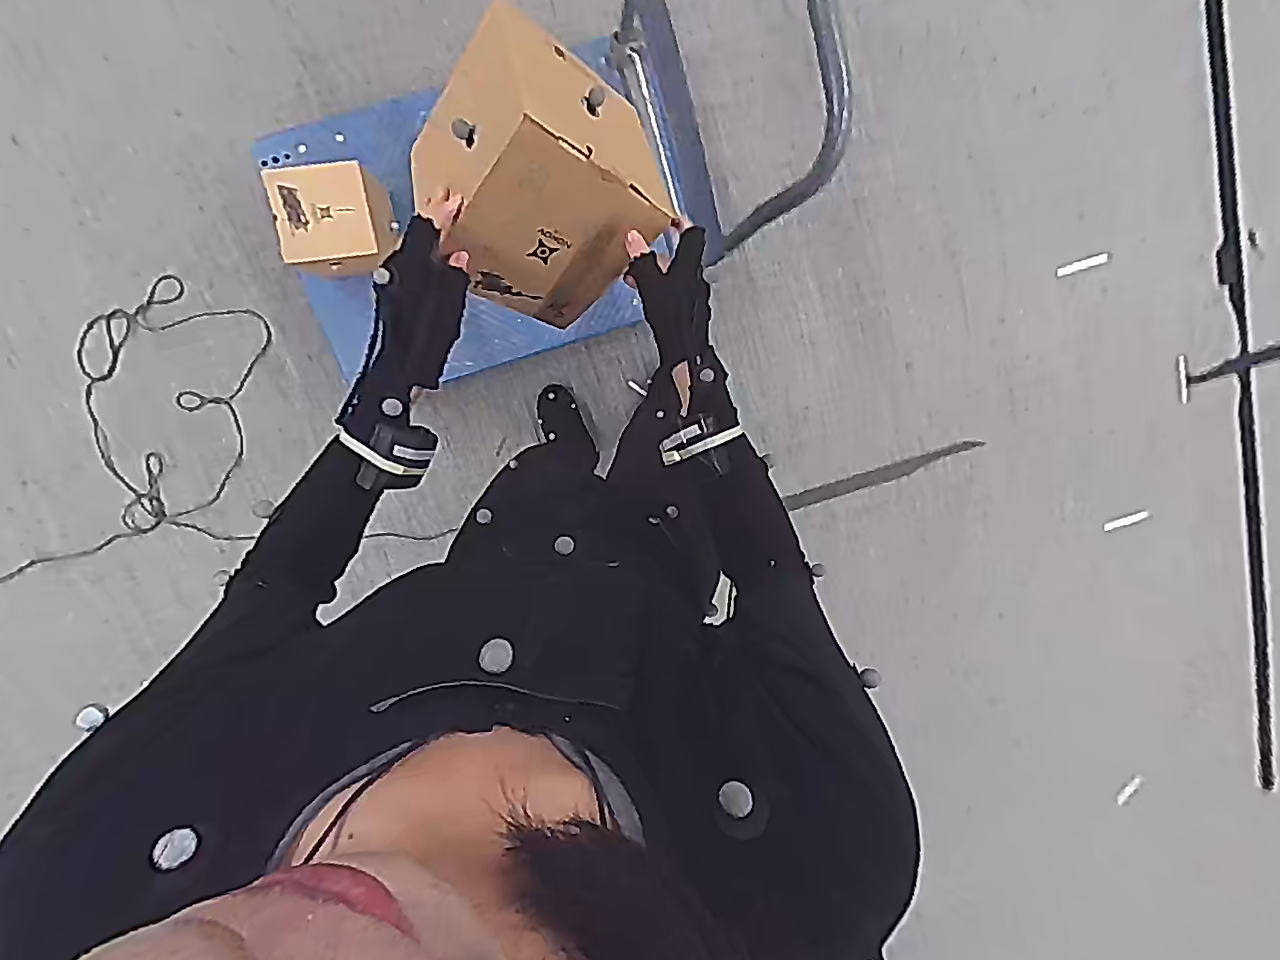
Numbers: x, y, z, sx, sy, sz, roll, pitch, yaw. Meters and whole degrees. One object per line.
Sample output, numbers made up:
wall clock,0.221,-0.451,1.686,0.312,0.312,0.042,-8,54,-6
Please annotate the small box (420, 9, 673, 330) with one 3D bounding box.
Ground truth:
small box,-0.100,-0.288,0.526,0.168,0.176,0.179,13,145,-45

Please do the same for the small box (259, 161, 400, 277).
small box,-0.611,-0.515,1.087,0.179,0.176,0.168,-9,102,-5
